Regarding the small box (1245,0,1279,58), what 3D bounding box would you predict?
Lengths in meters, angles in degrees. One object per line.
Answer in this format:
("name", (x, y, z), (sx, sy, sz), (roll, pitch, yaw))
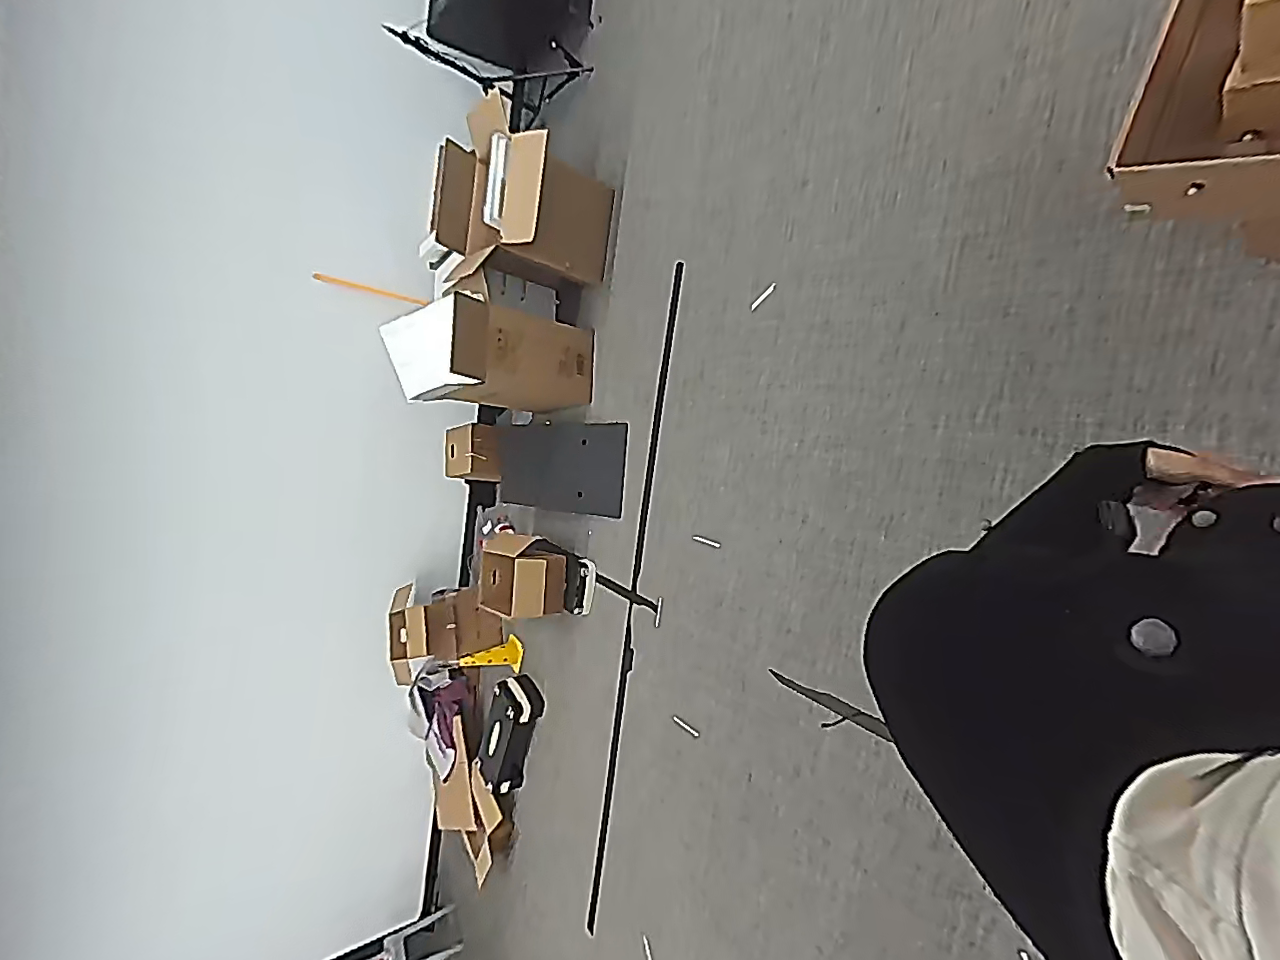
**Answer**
("small box", (0.860, -0.637, 0.629), (0.168, 0.176, 0.179), (25, 105, 45))
